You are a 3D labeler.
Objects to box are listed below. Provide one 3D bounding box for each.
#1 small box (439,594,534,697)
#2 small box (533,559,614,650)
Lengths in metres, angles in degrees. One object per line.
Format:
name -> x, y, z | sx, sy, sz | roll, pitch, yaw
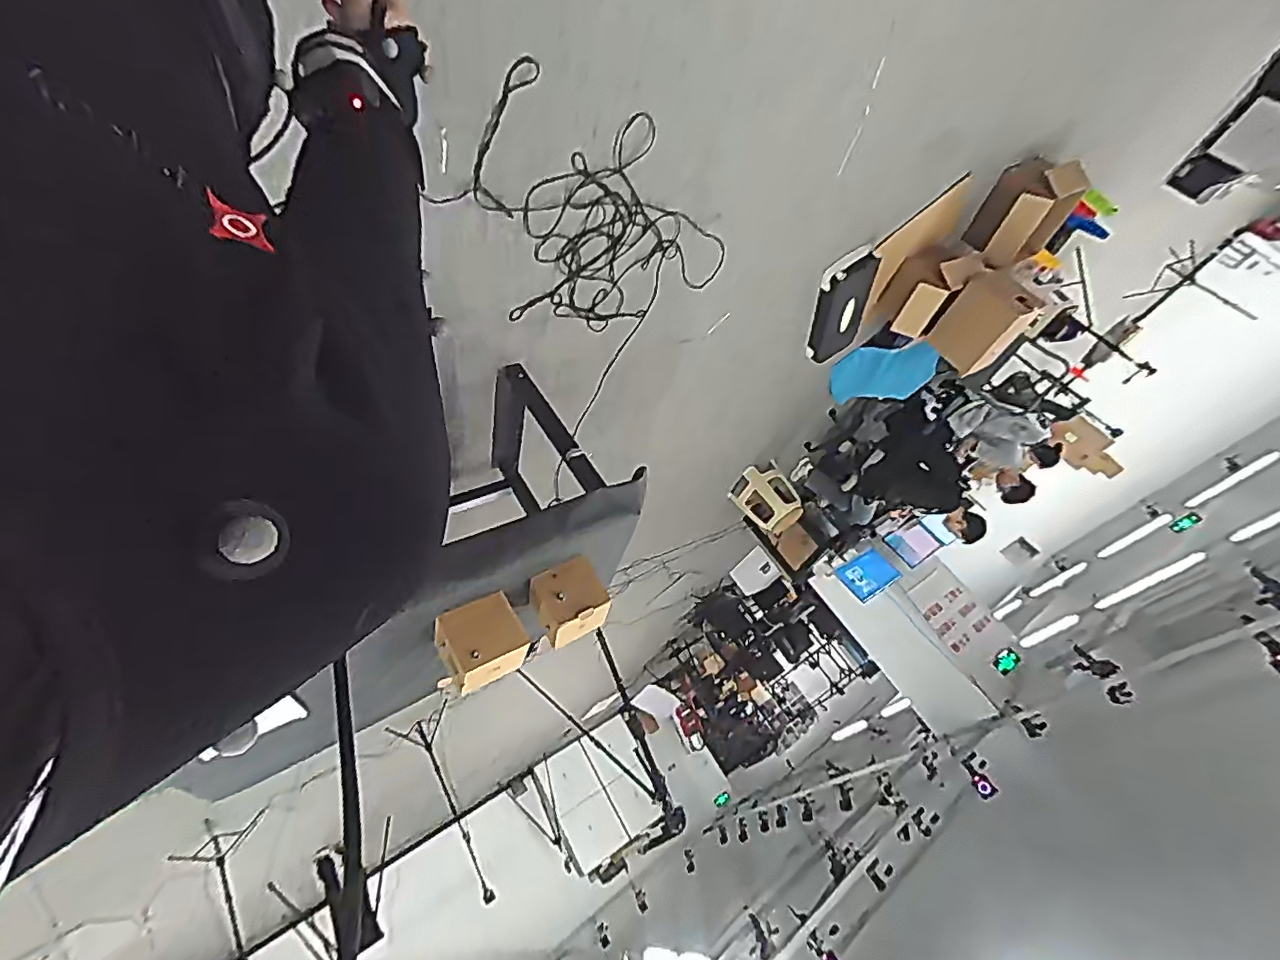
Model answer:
small box -> -0.401, 0.422, 1.400 | 0.179, 0.176, 0.168 | -18, 150, -34
small box -> -0.194, 0.348, 1.538 | 0.168, 0.176, 0.179 | -22, 153, -26
